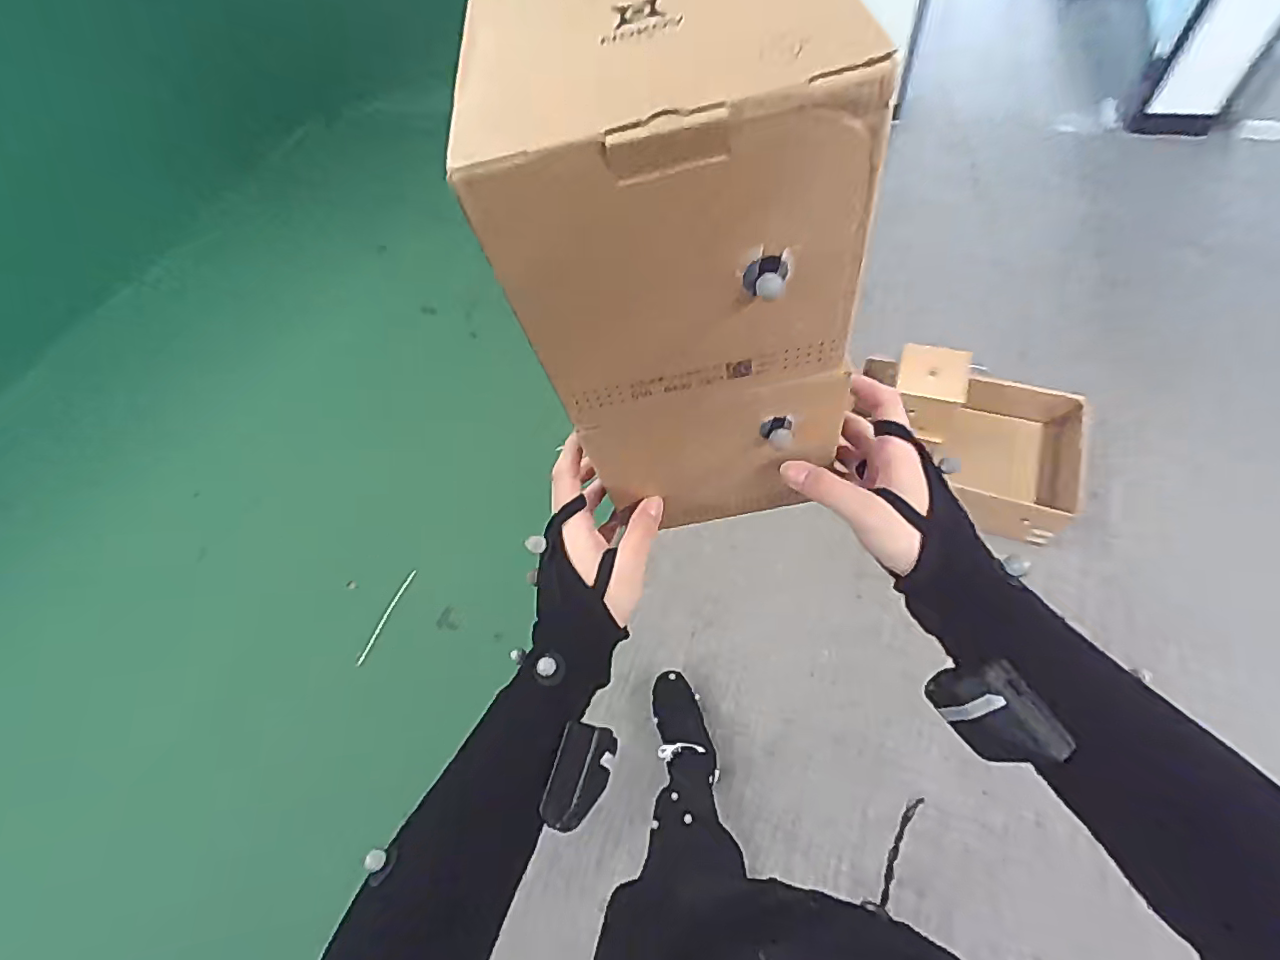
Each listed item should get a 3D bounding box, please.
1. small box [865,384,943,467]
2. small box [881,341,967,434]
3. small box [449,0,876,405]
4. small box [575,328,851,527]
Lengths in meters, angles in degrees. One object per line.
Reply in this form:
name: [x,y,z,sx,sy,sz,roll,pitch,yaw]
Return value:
small box: [0.791,-0.160,1.617,0.179,0.176,0.168,16,66,15]
small box: [0.773,-0.250,1.482,0.168,0.176,0.179,13,64,16]
small box: [0.015,-0.160,0.307,0.168,0.176,0.179,-10,59,7]
small box: [0.052,-0.078,0.443,0.179,0.176,0.168,-11,58,8]
